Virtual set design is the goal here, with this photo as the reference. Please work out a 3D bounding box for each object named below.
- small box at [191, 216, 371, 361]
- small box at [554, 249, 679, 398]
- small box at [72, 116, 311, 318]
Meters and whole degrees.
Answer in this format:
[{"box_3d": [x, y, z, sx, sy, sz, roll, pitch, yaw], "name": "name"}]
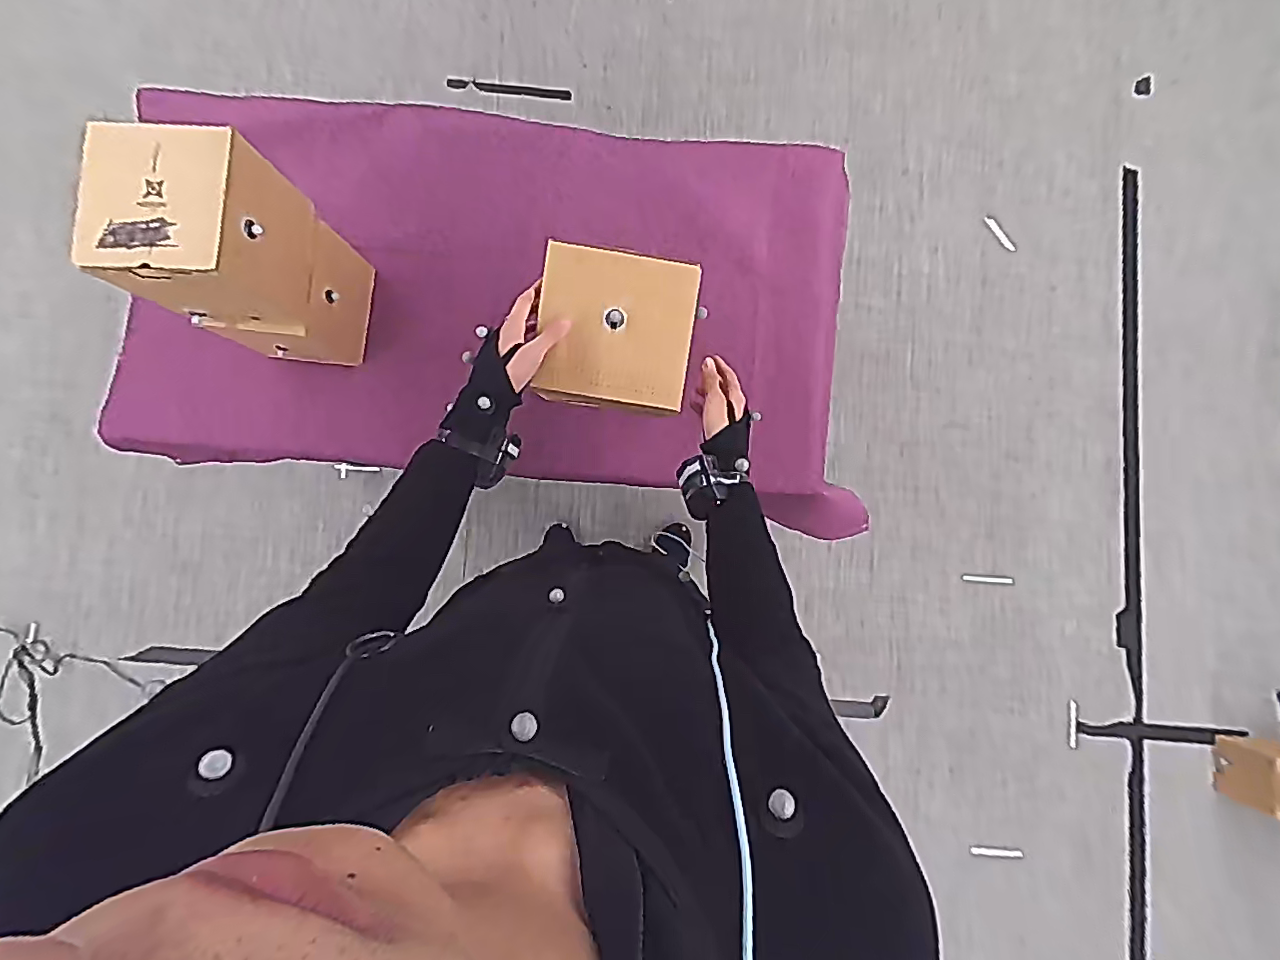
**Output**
[{"box_3d": [-0.550, -0.298, 0.852, 0.168, 0.176, 0.179, 7, 87, -1], "name": "small box"}, {"box_3d": [-0.033, -0.236, 0.859, 0.168, 0.176, 0.179, 7, 86, 0], "name": "small box"}, {"box_3d": [-0.550, -0.319, 0.689, 0.168, 0.176, 0.179, 2, 86, -1], "name": "small box"}]
